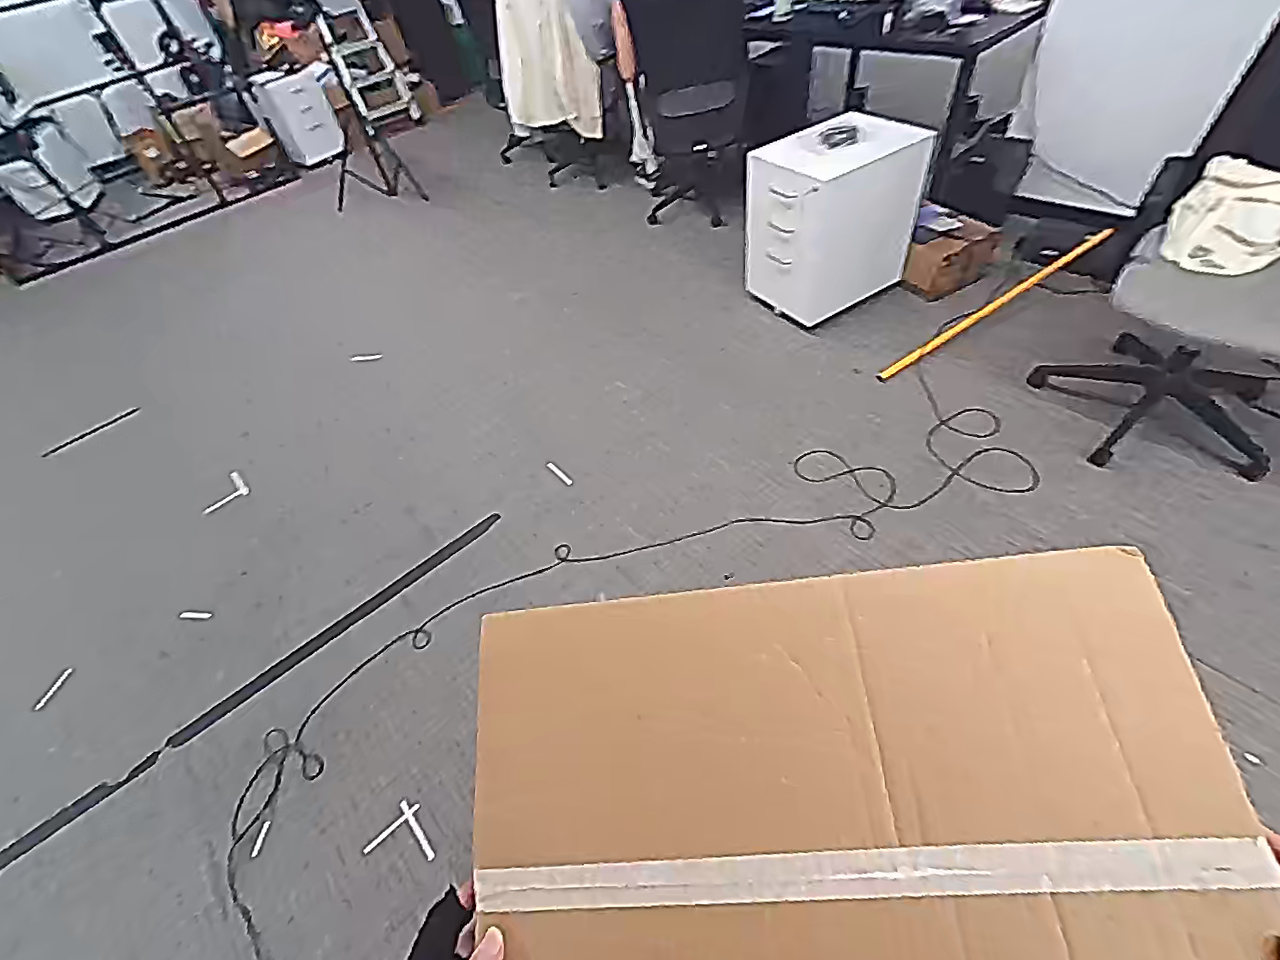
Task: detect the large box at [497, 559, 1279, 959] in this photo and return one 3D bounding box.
[{"bbox_3d":[0.135,0.272,0.433,0.408,0.320,0.320,-8,69,8],"label":"large box"}]
